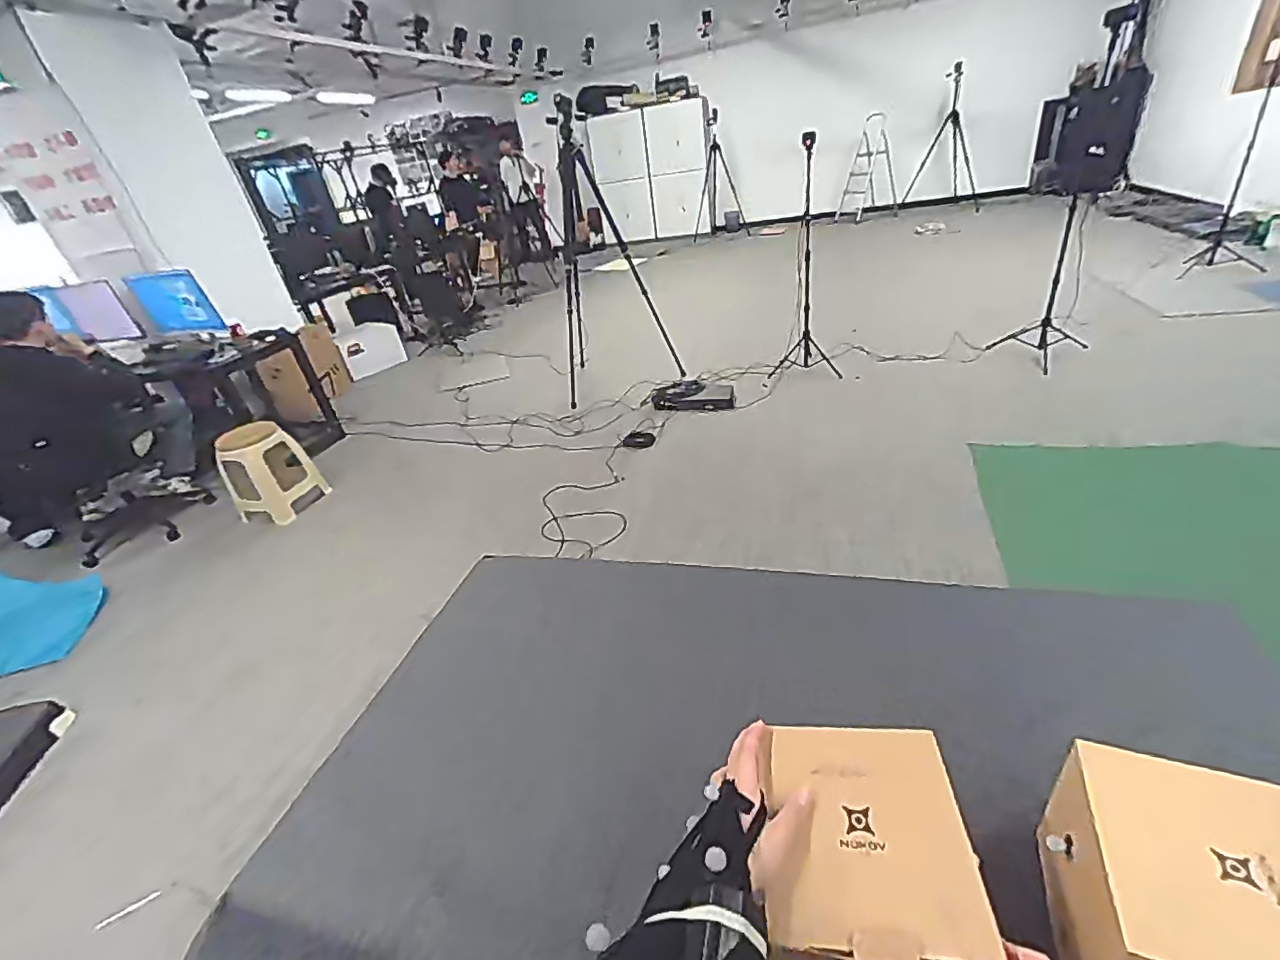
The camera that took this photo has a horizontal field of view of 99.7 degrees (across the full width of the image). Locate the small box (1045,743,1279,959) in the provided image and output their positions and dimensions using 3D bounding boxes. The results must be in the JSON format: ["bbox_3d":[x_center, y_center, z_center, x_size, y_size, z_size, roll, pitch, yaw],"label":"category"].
[{"bbox_3d":[0.451,0.354,0.433,0.179,0.176,0.168,6,34,24],"label":"small box"}]

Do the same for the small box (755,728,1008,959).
[{"bbox_3d":[0.196,0.356,0.494,0.168,0.176,0.179,-3,34,10],"label":"small box"}]
